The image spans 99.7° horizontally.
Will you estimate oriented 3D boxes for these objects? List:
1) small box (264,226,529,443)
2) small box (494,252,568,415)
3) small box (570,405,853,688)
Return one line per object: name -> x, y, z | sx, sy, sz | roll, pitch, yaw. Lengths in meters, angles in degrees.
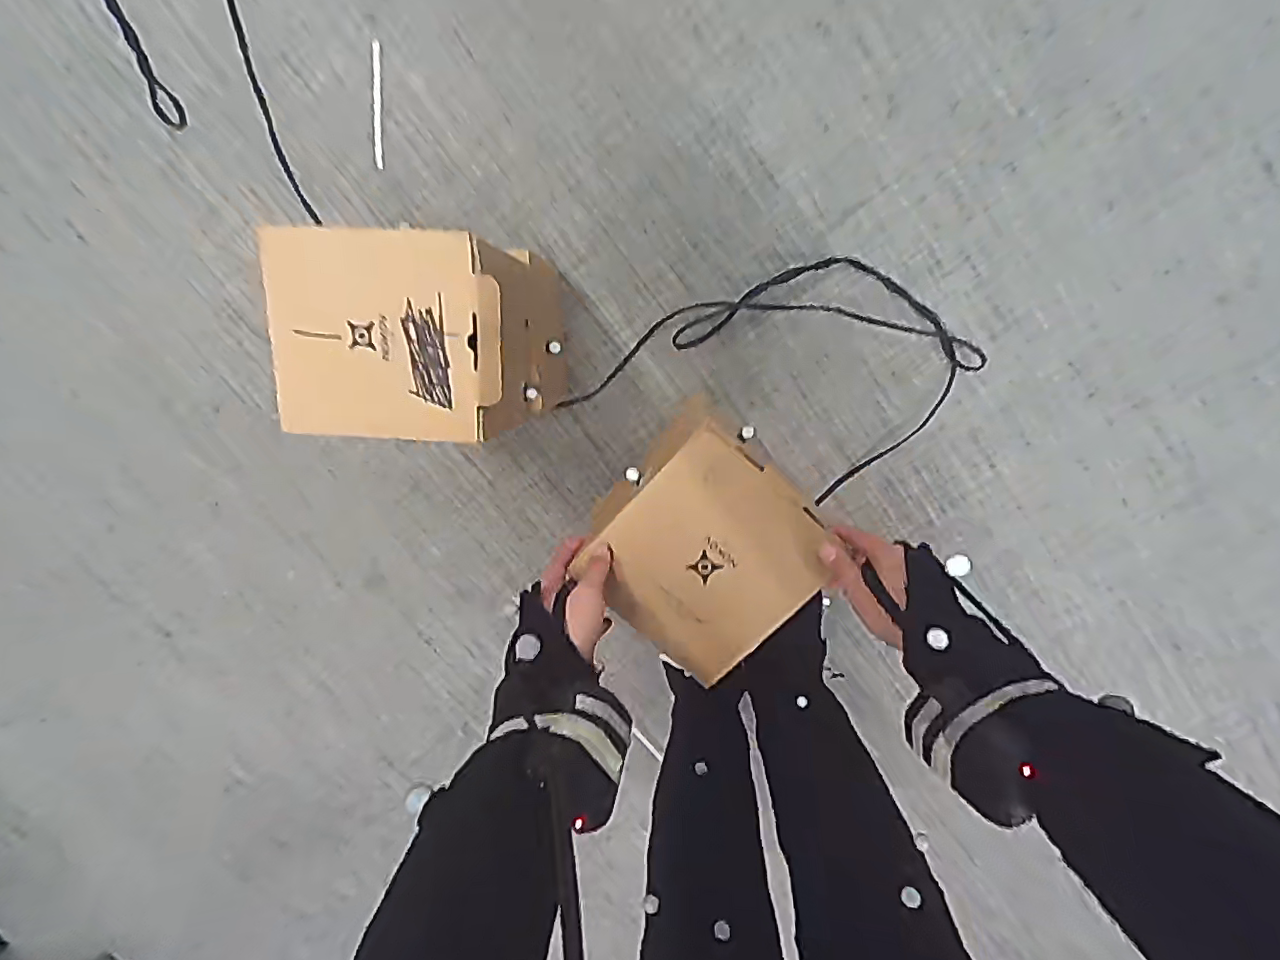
small box -> -0.210, -0.135, 0.518 | 0.179, 0.176, 0.168 | 4, 103, 3
small box -> -0.190, -0.177, 0.677 | 0.168, 0.176, 0.179 | -2, 104, 4
small box -> 0.061, 0.048, 0.516 | 0.168, 0.176, 0.179 | 41, 105, -6
